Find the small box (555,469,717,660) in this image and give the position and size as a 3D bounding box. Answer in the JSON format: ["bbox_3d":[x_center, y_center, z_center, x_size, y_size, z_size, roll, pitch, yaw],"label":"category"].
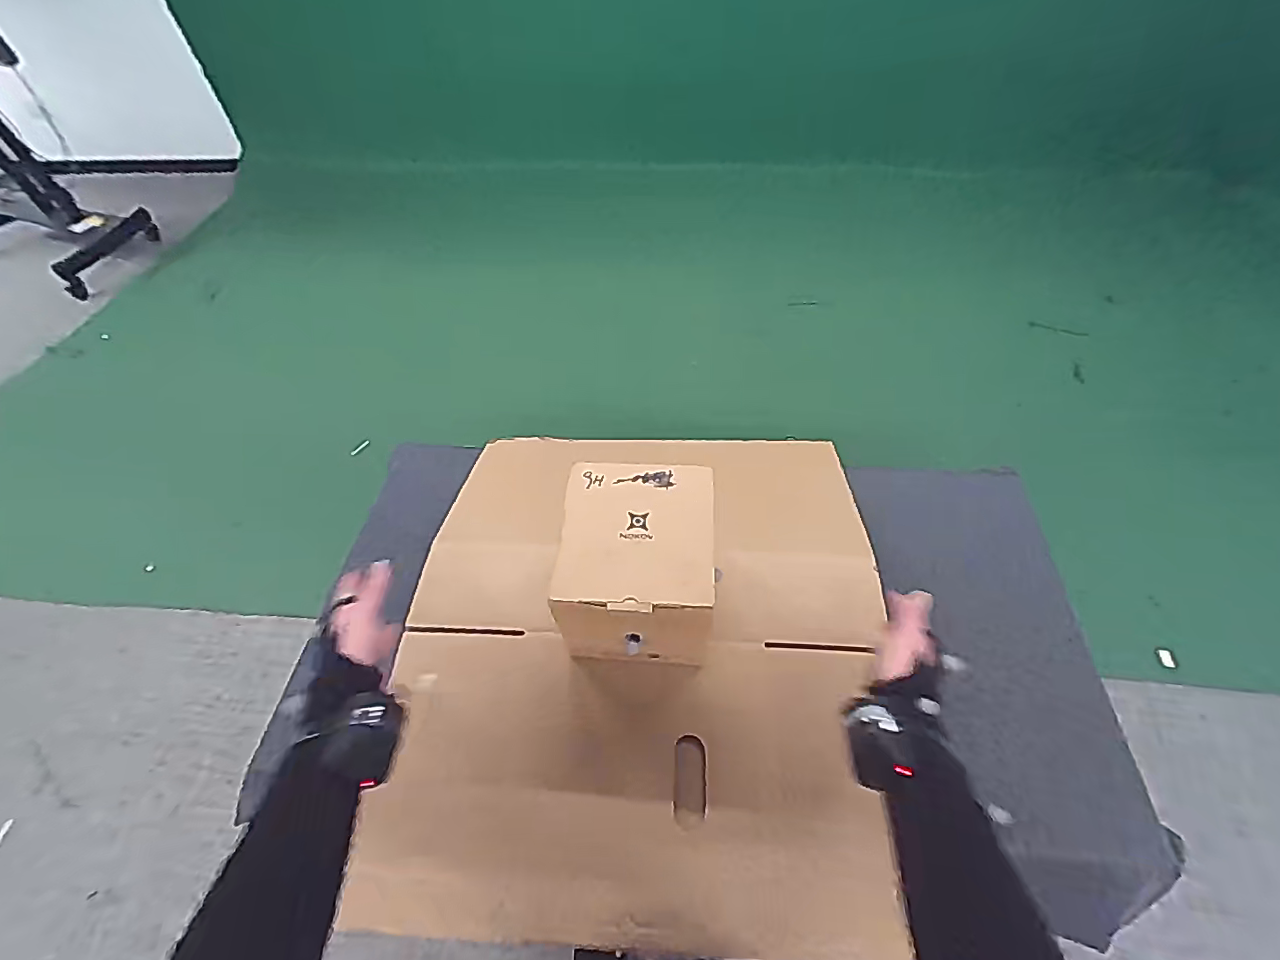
[{"bbox_3d":[0.004,0.106,0.645,0.168,0.176,0.179,-1,53,3],"label":"small box"}]
